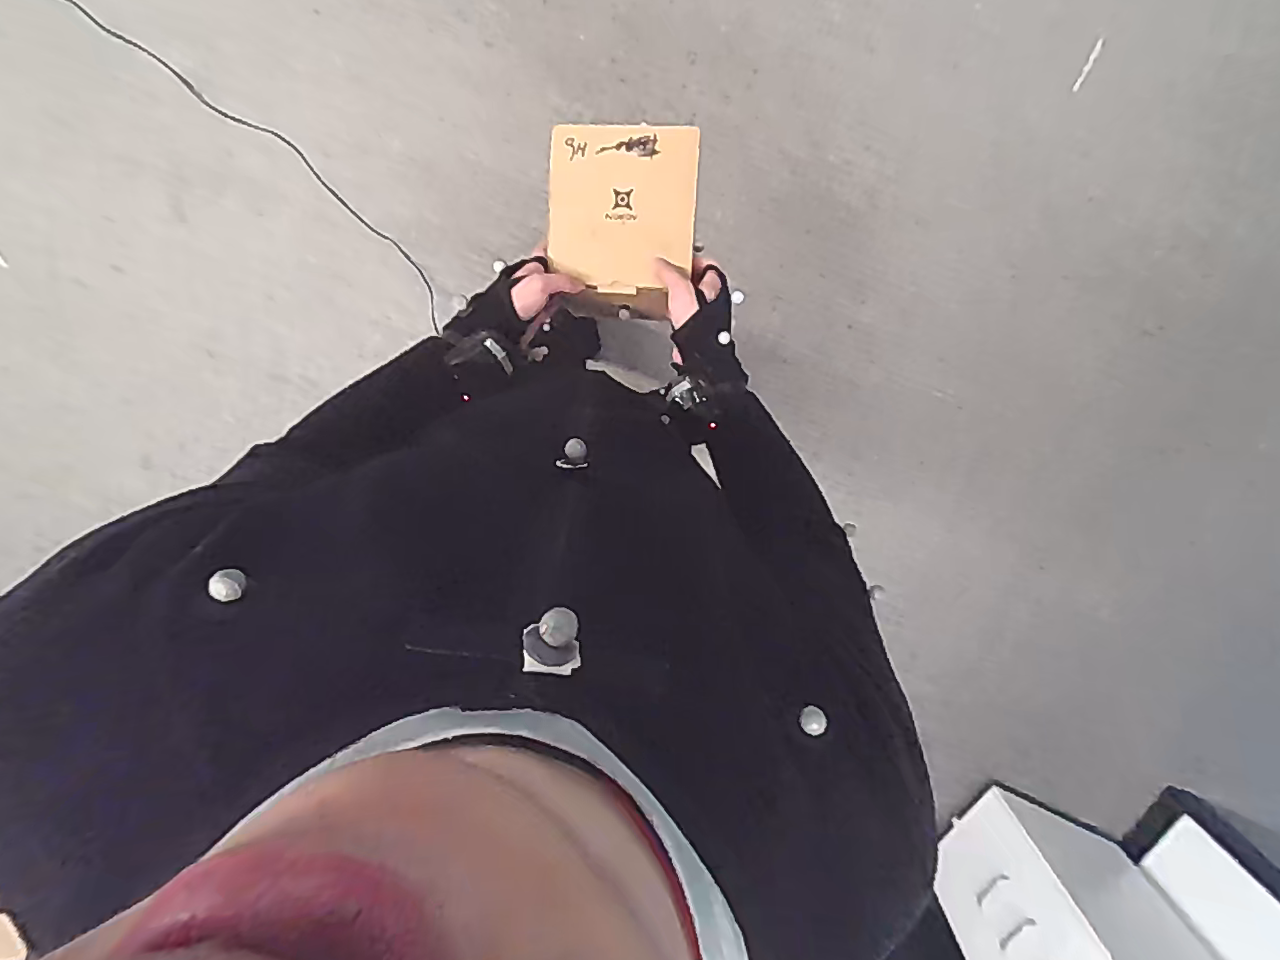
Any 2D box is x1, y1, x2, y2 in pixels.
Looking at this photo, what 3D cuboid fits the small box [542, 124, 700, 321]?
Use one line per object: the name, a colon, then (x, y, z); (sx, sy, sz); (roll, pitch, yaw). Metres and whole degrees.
small box: (-0.015, -0.298, 0.662); (0.168, 0.176, 0.179); (4, 96, 5)
